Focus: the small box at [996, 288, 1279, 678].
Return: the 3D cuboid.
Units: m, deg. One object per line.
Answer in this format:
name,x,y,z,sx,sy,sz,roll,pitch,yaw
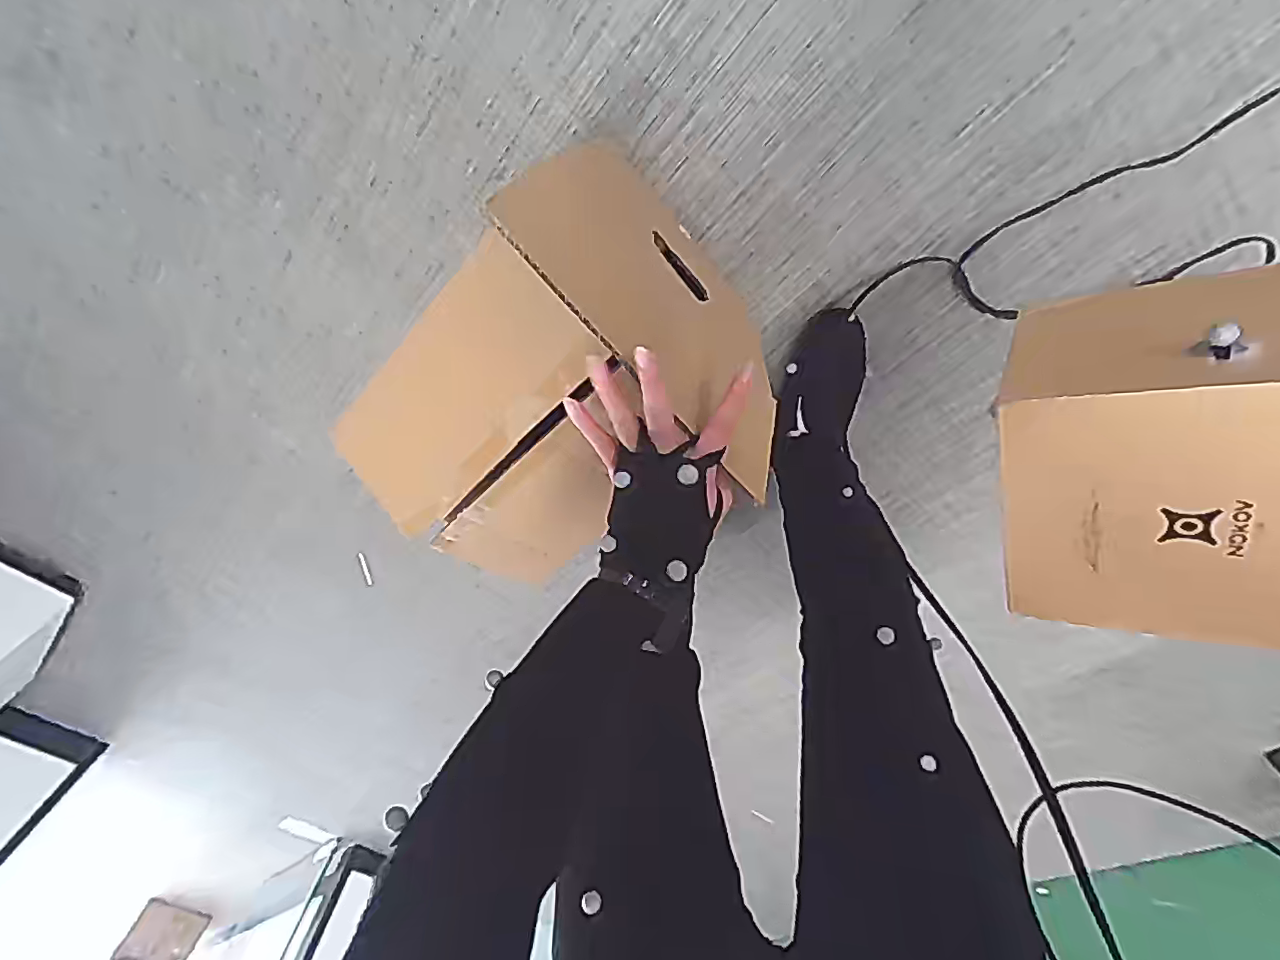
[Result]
small box,0.330,-0.008,0.332,0.179,0.176,0.168,2,122,38
